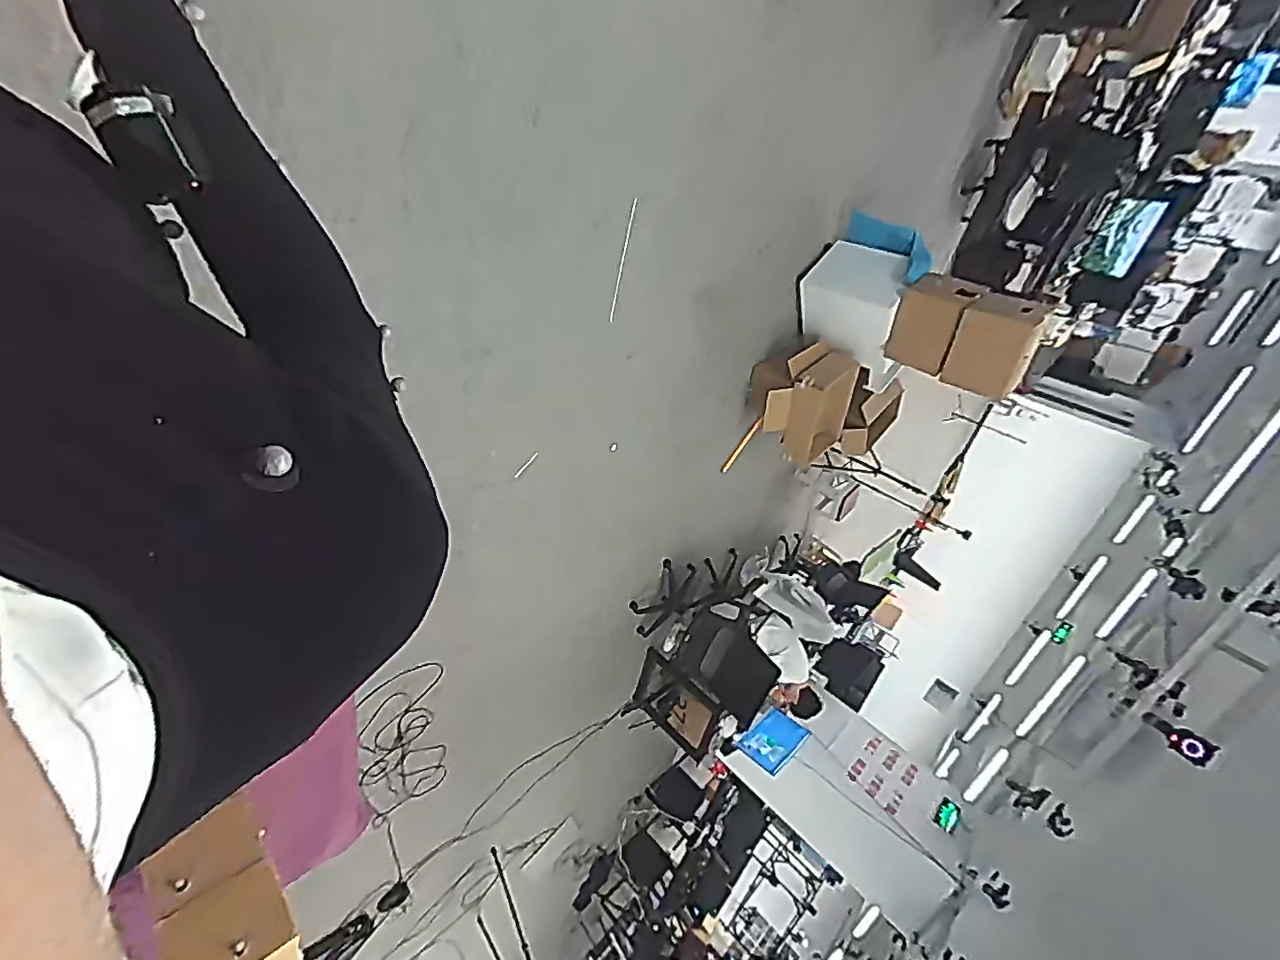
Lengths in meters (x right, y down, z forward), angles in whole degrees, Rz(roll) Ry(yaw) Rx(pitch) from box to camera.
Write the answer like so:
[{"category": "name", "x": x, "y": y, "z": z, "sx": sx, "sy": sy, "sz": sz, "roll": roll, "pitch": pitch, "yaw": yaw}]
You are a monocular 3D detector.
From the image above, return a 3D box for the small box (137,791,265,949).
[{"category": "small box", "x": -0.862, "y": 0.770, "z": 1.067, "sx": 0.179, "sy": 0.176, "sz": 0.168, "roll": -14, "pitch": 129, "yaw": -45}]

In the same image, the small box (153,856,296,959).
[{"category": "small box", "x": -0.749, "y": 0.843, "z": 0.977, "sx": 0.179, "sy": 0.176, "sz": 0.168, "roll": -15, "pitch": 129, "yaw": -46}]
